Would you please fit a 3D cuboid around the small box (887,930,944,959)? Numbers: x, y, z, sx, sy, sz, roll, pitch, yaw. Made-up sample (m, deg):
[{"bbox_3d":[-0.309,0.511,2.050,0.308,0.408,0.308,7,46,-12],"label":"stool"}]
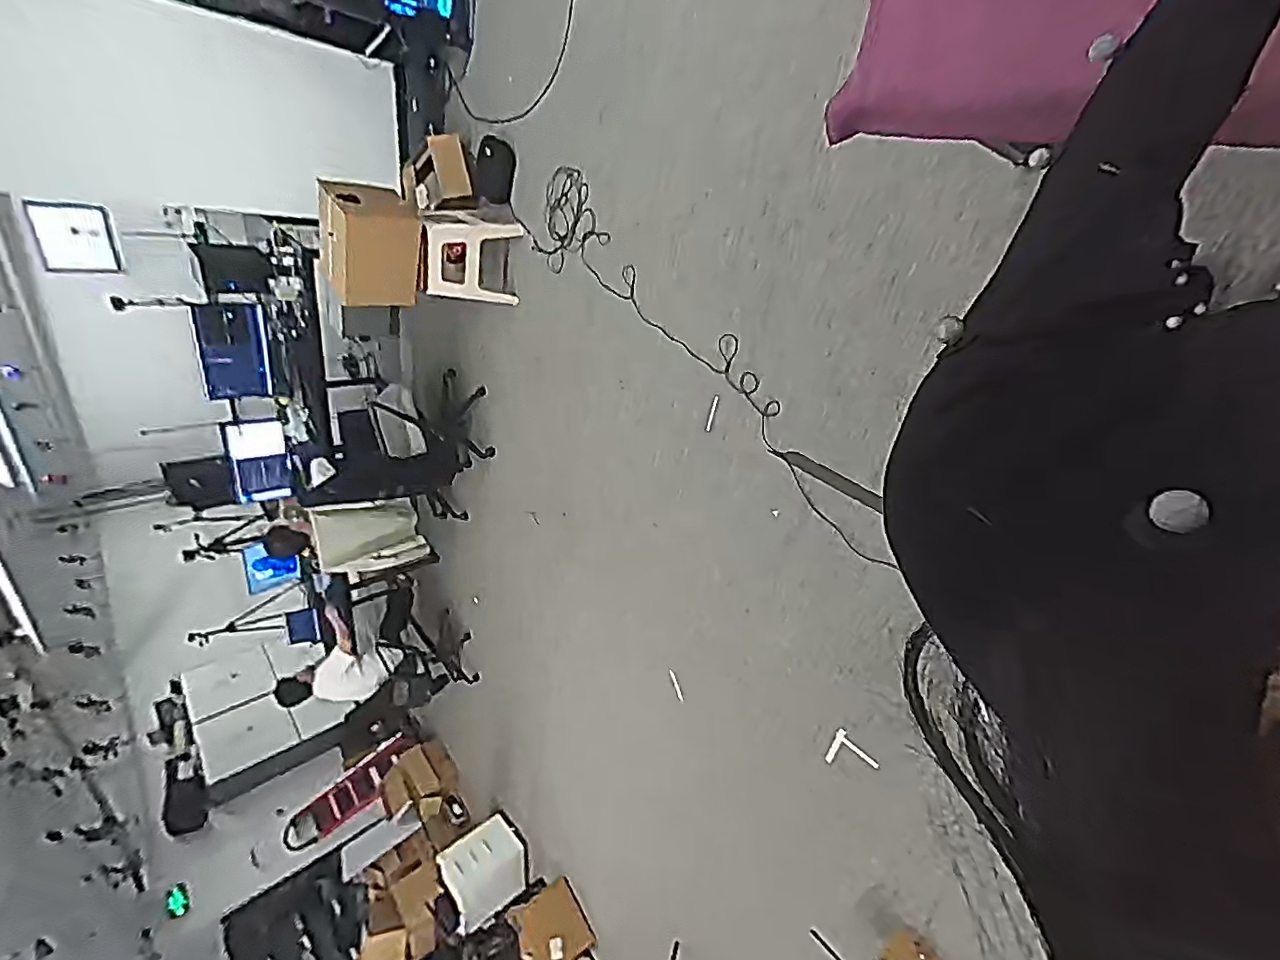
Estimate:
[{"bbox_3d":[0.928,1.689,1.825,0.168,0.176,0.179,34,126,36],"label":"small box"}]
